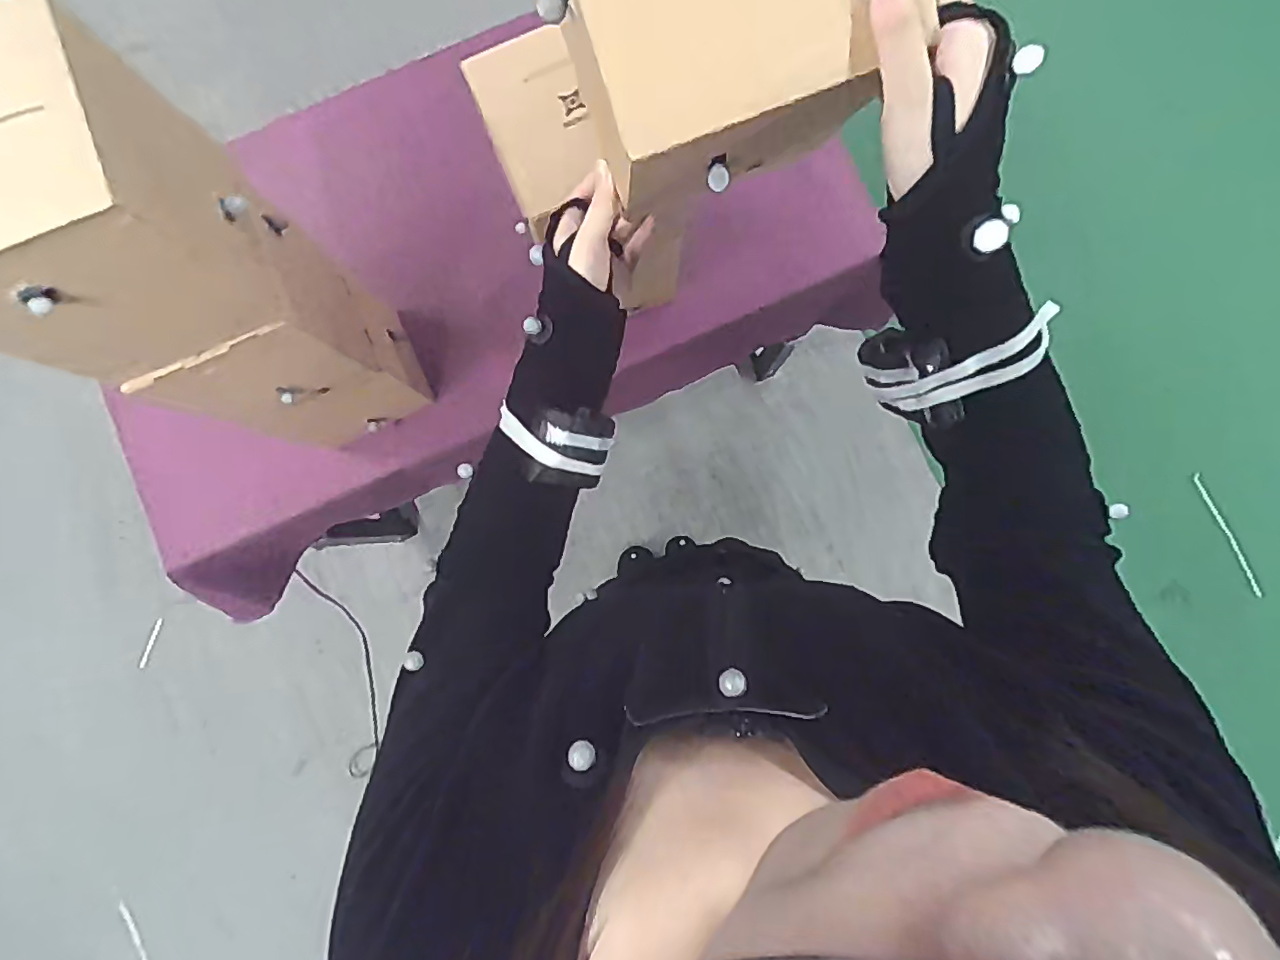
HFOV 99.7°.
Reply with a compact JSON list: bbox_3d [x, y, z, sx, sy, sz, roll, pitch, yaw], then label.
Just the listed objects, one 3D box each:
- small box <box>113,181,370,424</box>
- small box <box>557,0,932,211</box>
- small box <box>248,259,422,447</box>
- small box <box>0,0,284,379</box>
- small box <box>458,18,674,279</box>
[{"bbox_3d":[-0.431,-0.181,0.581,0.168,0.176,0.179,-24,85,-1],"label":"small box"},{"bbox_3d":[0.042,-0.286,0.331,0.168,0.176,0.179,-19,105,3],"label":"small box"},{"bbox_3d":[-0.427,-0.162,0.746,0.179,0.176,0.168,-26,85,-2],"label":"small box"},{"bbox_3d":[-0.430,-0.198,0.417,0.179,0.176,0.168,-23,85,-2],"label":"small box"},{"bbox_3d":[-0.065,-0.346,0.591,0.168,0.176,0.179,-24,85,-2],"label":"small box"}]
